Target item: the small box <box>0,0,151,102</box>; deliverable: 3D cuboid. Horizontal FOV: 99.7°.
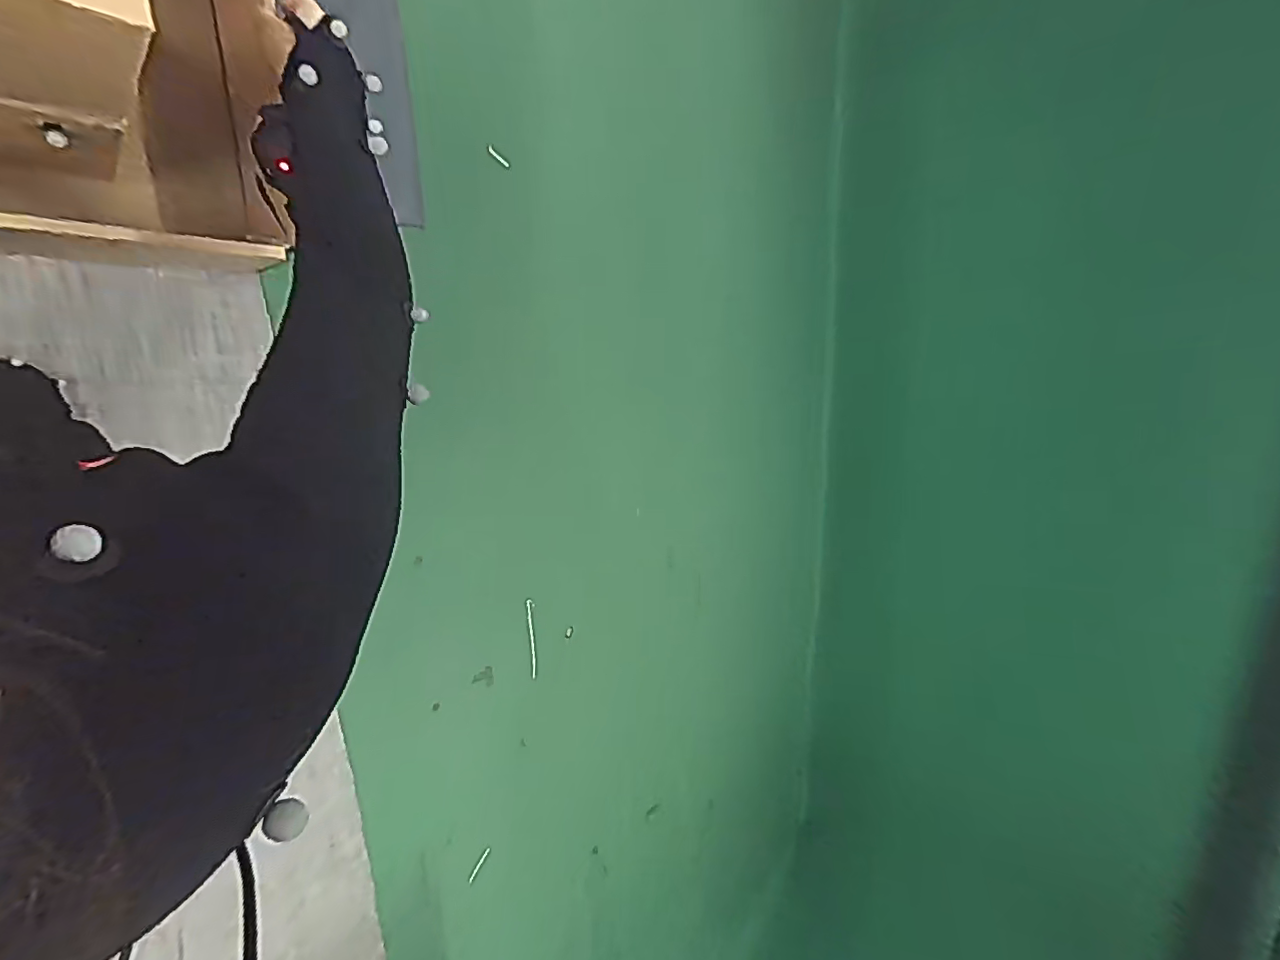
[{"bbox_3d":[-0.400,-0.334,0.285,0.179,0.176,0.168,-17,112,-46],"label":"small box"}]
